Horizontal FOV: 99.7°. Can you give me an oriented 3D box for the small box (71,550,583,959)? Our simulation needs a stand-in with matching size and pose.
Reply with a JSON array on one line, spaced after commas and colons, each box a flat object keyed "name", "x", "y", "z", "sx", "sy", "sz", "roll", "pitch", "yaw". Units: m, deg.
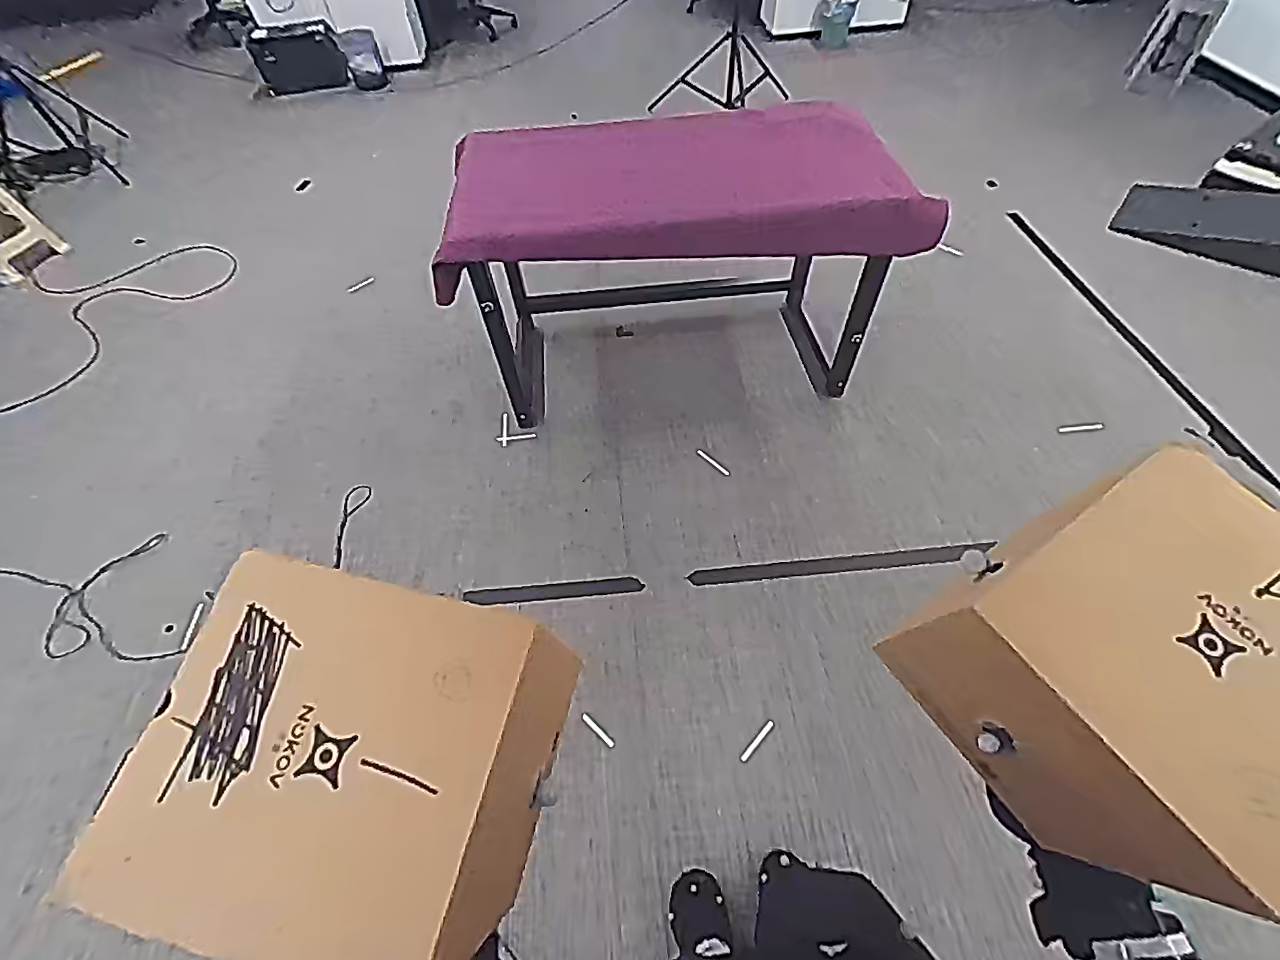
[{"name": "small box", "x": -0.147, "y": 0.161, "z": 0.331, "sx": 0.179, "sy": 0.176, "sz": 0.168, "roll": 12, "pitch": 67, "yaw": 7}]

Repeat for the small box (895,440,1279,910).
[{"name": "small box", "x": 0.296, "y": 0.113, "z": 0.346, "sx": 0.179, "sy": 0.176, "sz": 0.168, "roll": -33, "pitch": 68, "yaw": -11}]
